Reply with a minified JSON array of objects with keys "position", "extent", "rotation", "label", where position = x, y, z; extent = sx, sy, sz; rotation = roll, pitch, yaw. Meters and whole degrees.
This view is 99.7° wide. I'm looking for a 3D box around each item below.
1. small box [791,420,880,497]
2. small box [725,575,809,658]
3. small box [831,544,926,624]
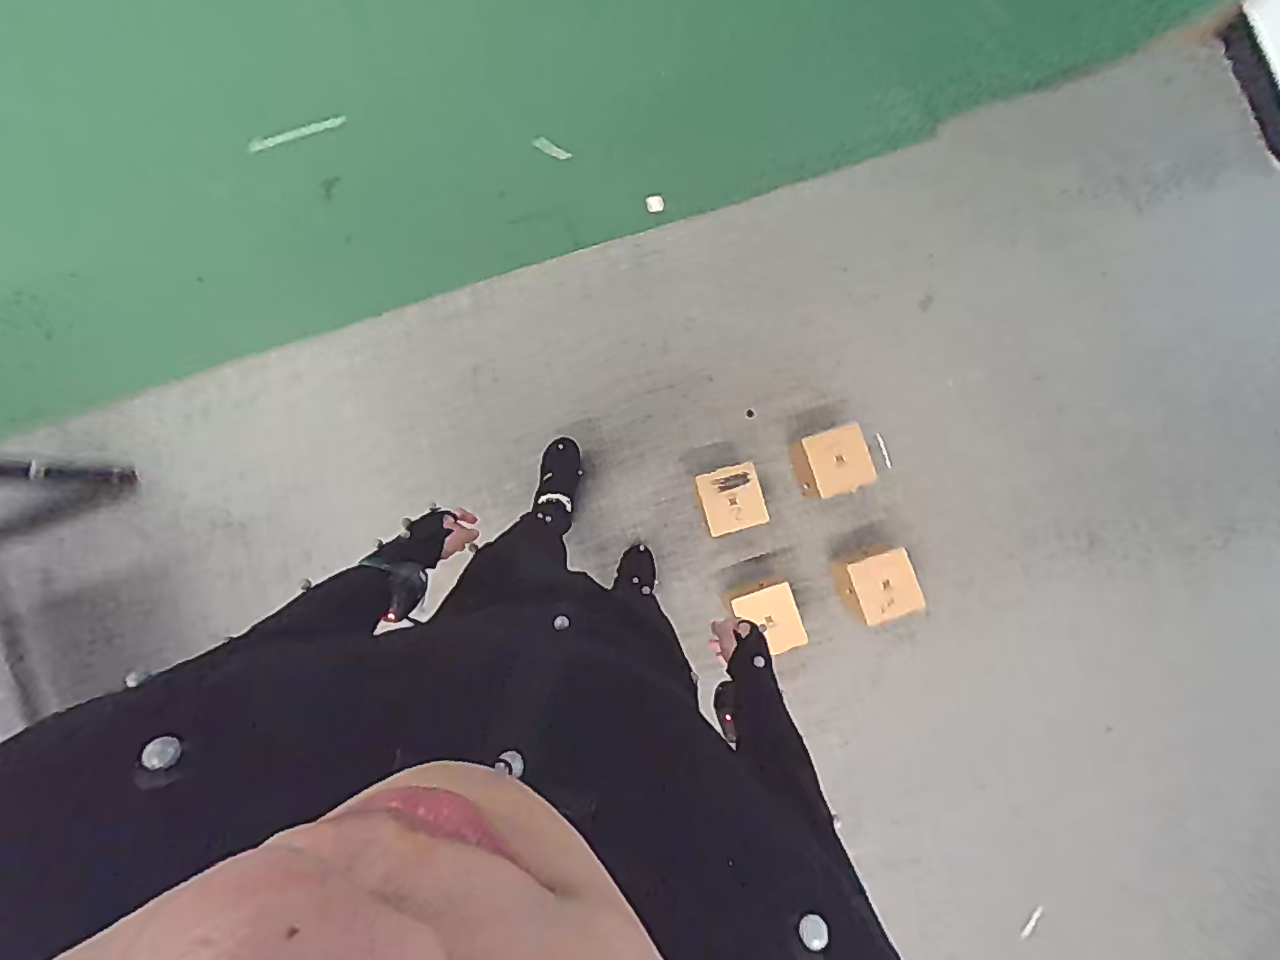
[{"position":[0.550,-0.056,1.541],"extent":[0.168,0.176,0.179],"rotation":[-17,87,-1],"label":"small box"},{"position":[0.350,0.375,1.527],"extent":[0.168,0.176,0.179],"rotation":[-18,88,0],"label":"small box"},{"position":[0.661,0.283,1.521],"extent":[0.168,0.176,0.179],"rotation":[-18,87,1],"label":"small box"}]
